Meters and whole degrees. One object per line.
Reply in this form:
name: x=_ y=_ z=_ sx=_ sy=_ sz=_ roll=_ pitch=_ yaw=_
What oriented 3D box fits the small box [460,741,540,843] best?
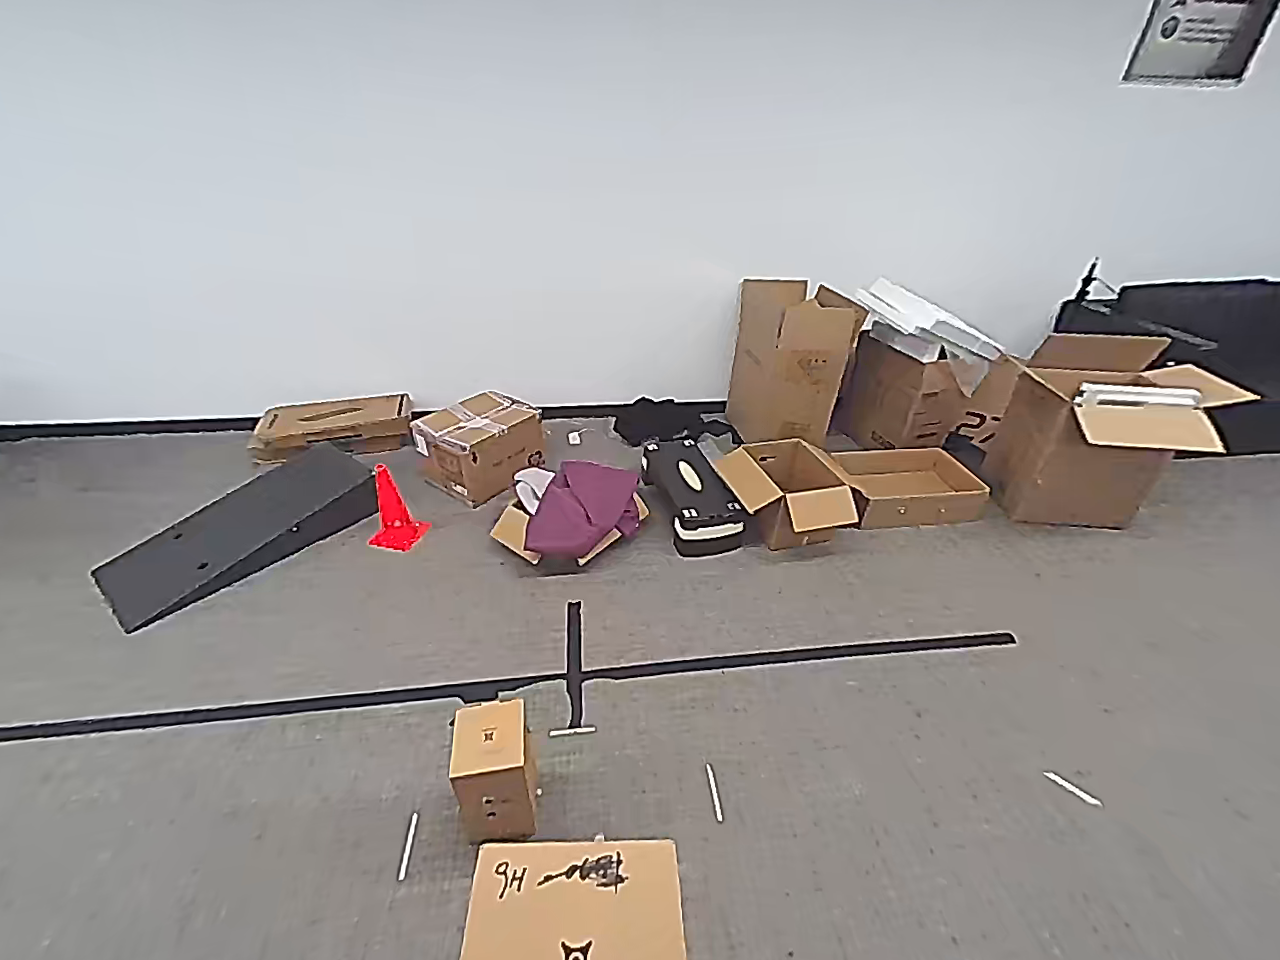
small box: x=-0.356 y=0.811 z=1.403 sx=0.179 sy=0.176 sz=0.168 roll=-4 pitch=33 yaw=-8

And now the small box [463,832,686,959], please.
small box: x=-0.051 y=0.417 z=0.436 sx=0.168 sy=0.176 sz=0.179 roll=1 pitch=35 yaw=-5

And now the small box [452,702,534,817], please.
small box: x=-0.350 y=0.676 z=1.312 sx=0.168 sy=0.176 sz=0.179 roll=-7 pitch=35 yaw=-9
